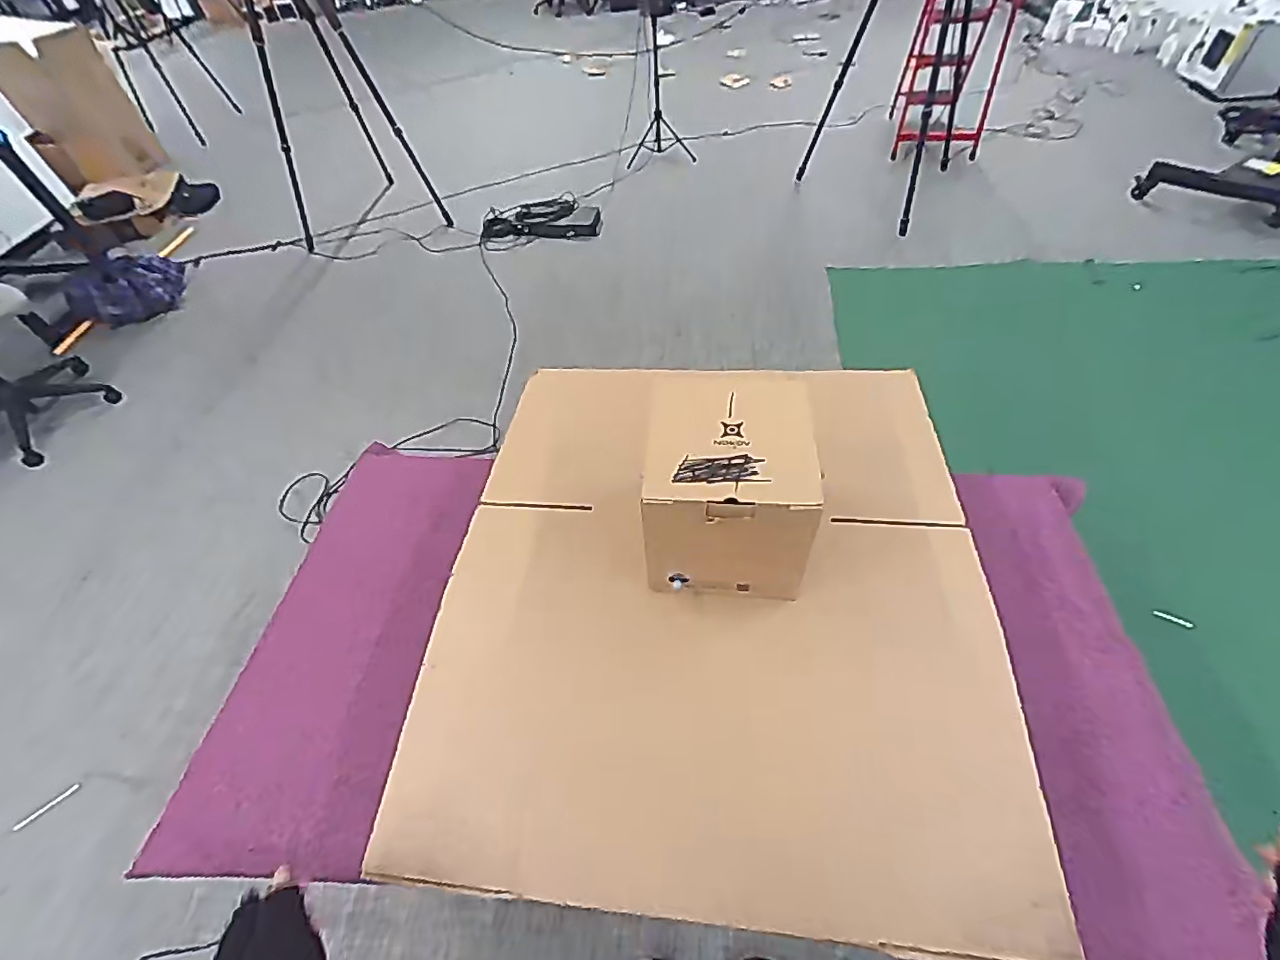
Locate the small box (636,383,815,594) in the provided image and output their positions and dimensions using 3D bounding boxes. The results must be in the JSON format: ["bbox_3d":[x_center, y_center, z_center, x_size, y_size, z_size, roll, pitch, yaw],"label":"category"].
[{"bbox_3d":[0.093,0.011,0.604,0.168,0.176,0.179,2,49,7],"label":"small box"}]
